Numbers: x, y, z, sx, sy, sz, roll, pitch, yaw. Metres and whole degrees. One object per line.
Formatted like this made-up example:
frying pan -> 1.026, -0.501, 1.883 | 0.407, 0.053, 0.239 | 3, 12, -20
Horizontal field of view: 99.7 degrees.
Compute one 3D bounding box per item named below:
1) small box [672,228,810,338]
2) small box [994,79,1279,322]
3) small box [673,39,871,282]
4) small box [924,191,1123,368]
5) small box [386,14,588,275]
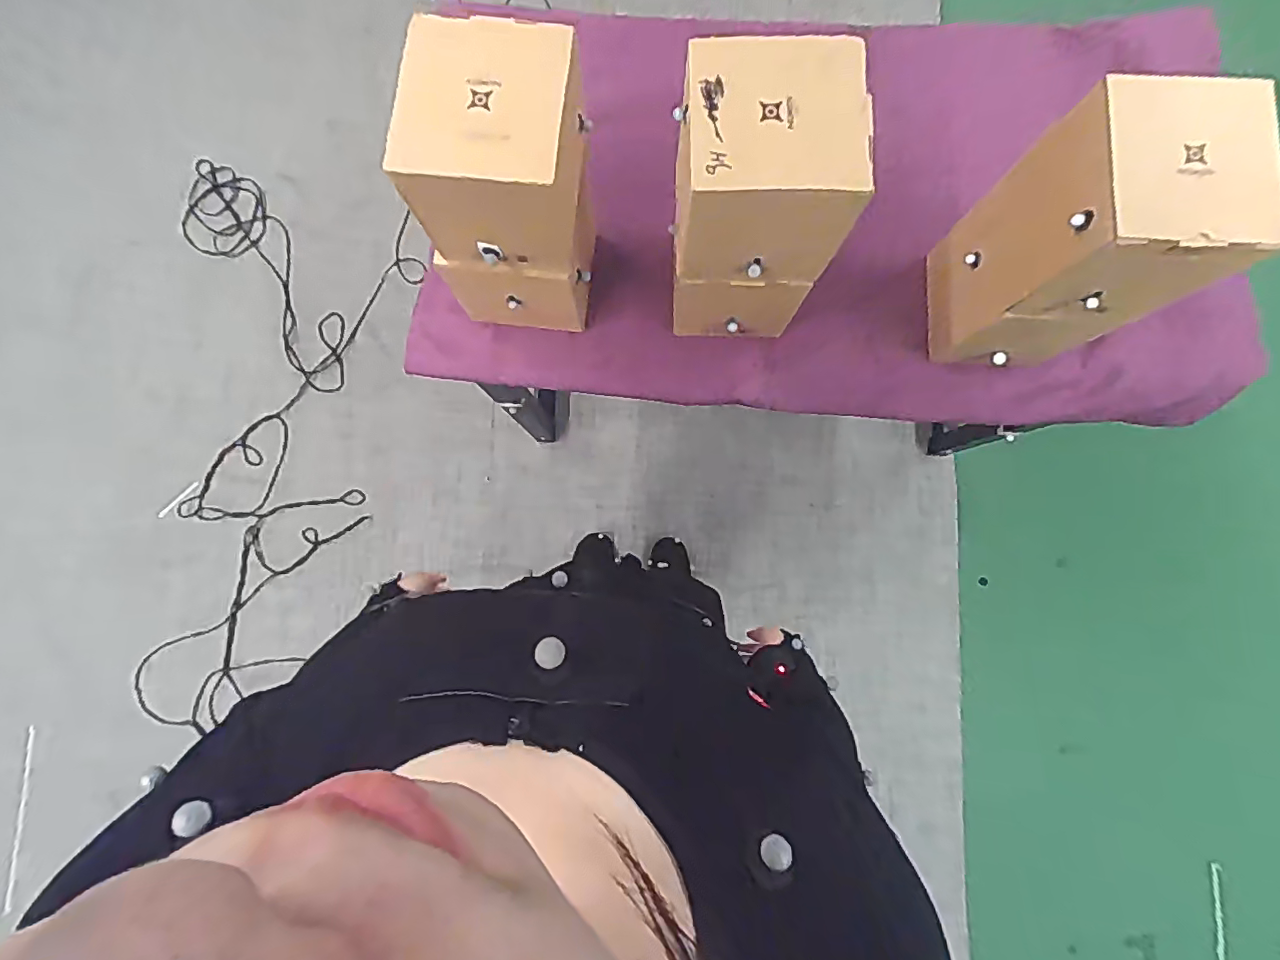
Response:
small box -> 0.132, -0.317, 0.763 | 0.168, 0.176, 0.179 | 1, 83, 0
small box -> 0.527, -0.296, 0.602 | 0.168, 0.176, 0.179 | 2, 83, 0
small box -> 0.132, -0.337, 0.600 | 0.179, 0.176, 0.168 | 0, 82, -1
small box -> 0.524, -0.272, 0.763 | 0.168, 0.176, 0.179 | 2, 84, 0
small box -> -0.152, -0.356, 0.599 | 0.168, 0.176, 0.179 | 5, 83, 1
